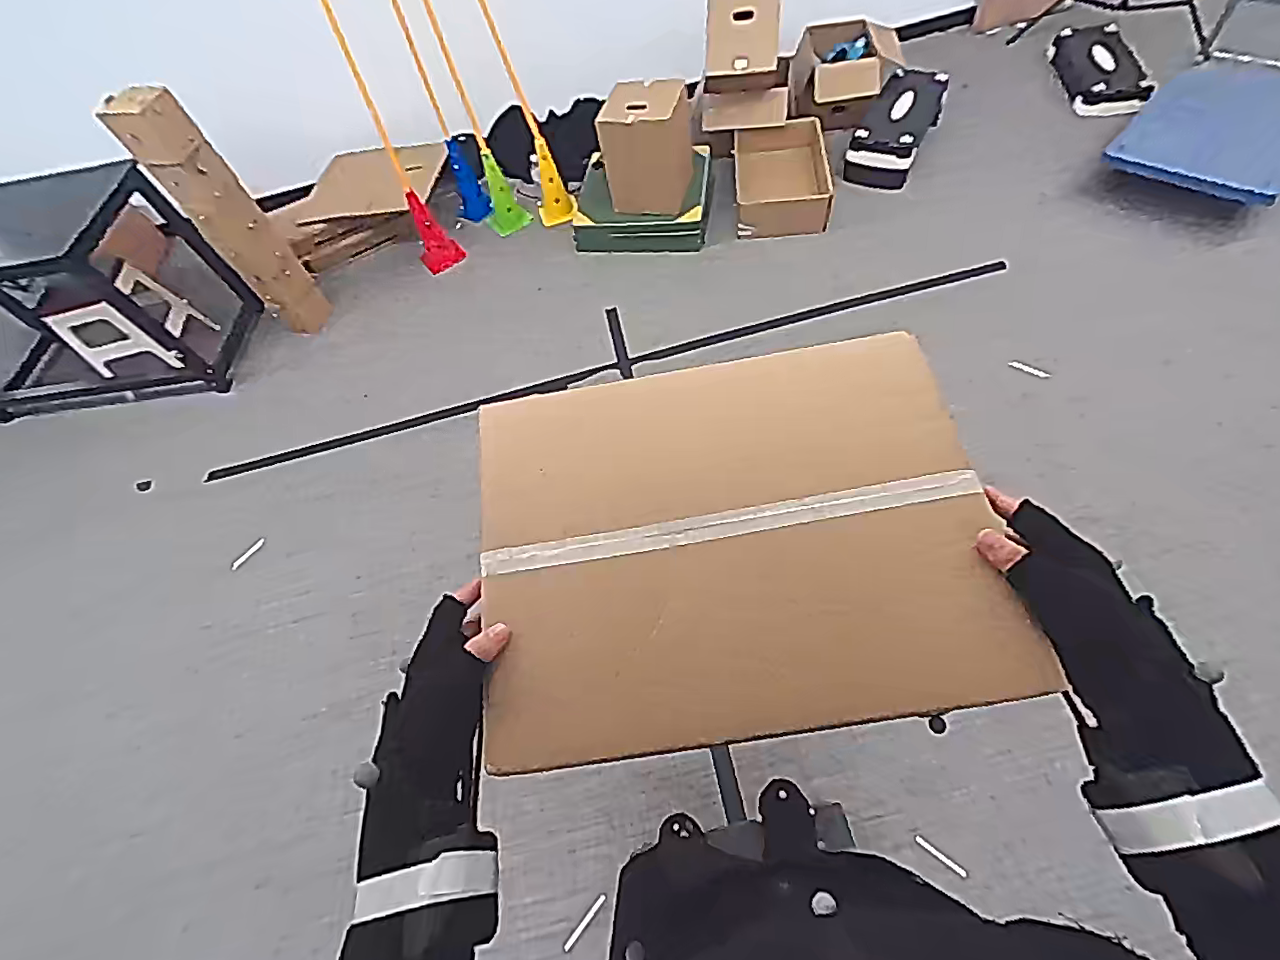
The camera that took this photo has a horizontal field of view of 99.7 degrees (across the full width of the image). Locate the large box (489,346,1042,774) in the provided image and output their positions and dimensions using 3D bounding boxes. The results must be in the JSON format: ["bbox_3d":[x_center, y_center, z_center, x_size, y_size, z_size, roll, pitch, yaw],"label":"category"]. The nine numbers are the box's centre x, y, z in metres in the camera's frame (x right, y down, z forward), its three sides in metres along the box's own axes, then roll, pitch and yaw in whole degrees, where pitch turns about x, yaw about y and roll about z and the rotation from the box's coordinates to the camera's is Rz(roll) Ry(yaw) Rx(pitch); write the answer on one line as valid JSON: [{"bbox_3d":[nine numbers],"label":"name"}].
[{"bbox_3d":[0.087,0.102,0.583,0.408,0.320,0.320,-9,65,2],"label":"large box"}]

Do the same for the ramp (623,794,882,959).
[{"bbox_3d":[0.306,1.214,1.046,0.509,0.206,0.991,-14,59,-2],"label":"ramp"}]
